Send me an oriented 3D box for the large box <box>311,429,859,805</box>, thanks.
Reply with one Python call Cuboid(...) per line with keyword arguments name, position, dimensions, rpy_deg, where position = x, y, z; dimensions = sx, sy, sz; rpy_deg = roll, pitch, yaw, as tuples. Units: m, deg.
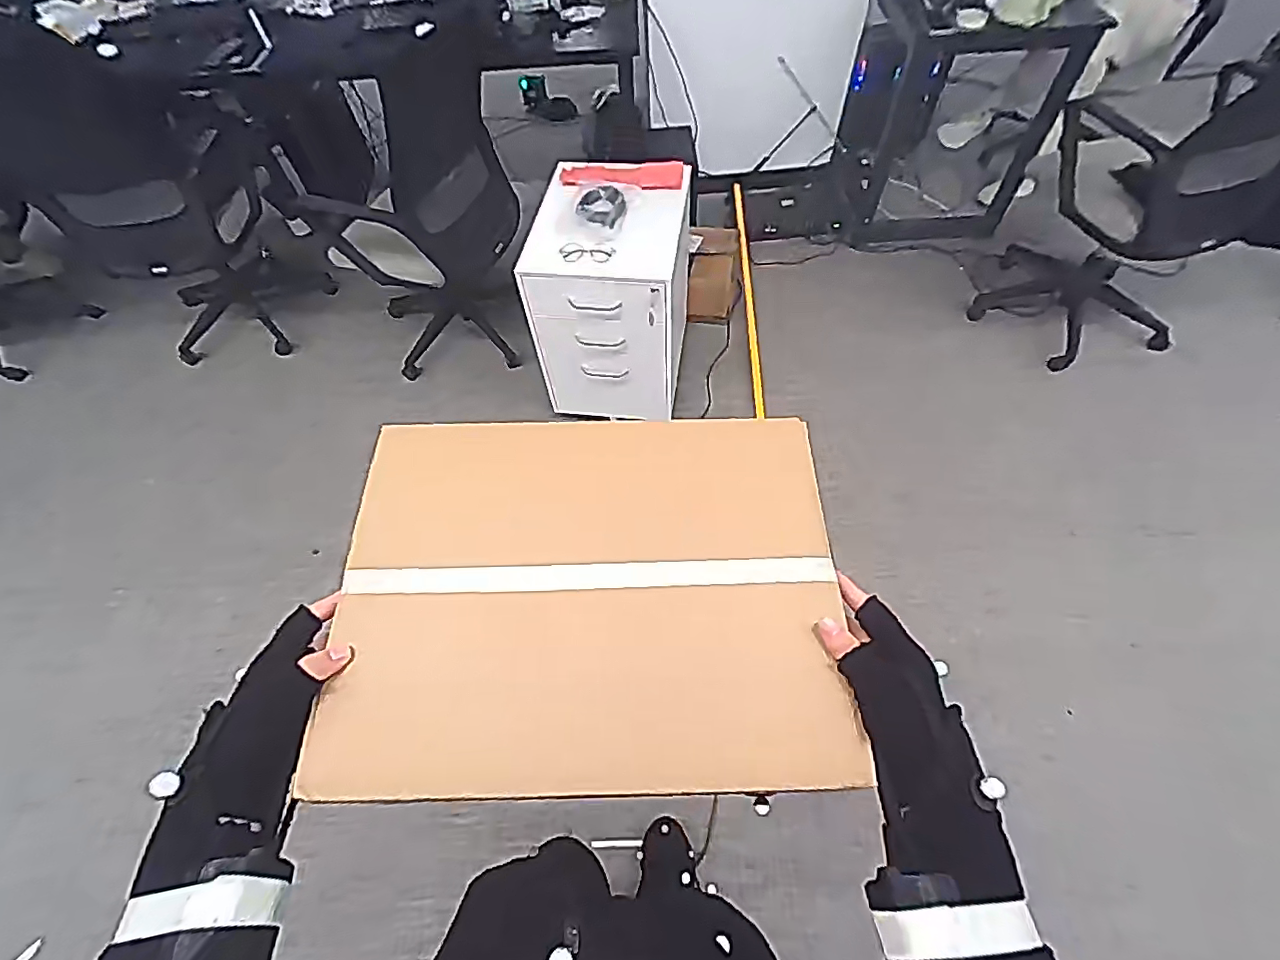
Cuboid(name="large box", position=(-0.042, 0.160, 0.589), dimensions=(0.408, 0.320, 0.320), rpy_deg=(-1, 60, -1))
